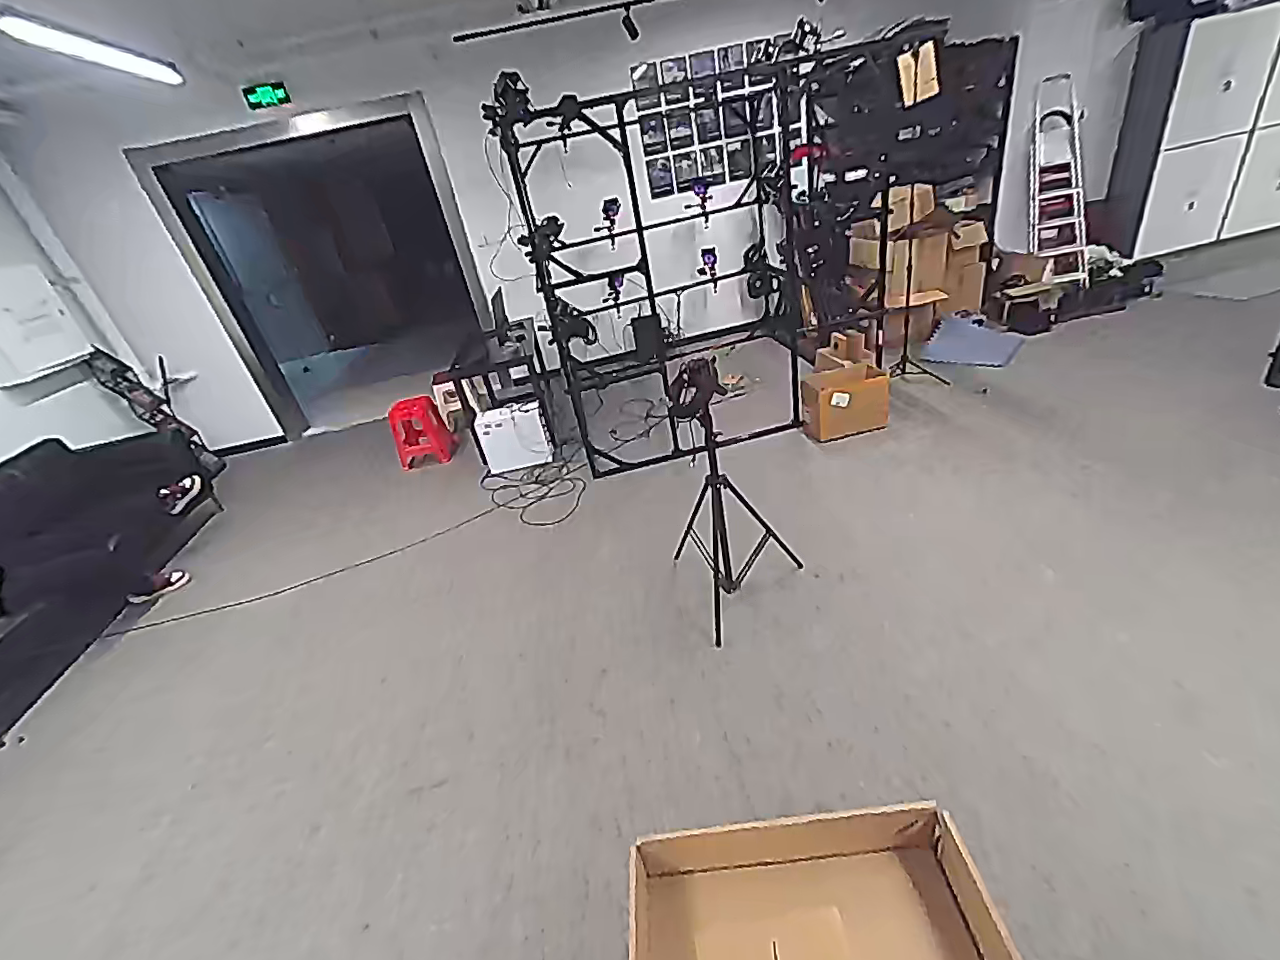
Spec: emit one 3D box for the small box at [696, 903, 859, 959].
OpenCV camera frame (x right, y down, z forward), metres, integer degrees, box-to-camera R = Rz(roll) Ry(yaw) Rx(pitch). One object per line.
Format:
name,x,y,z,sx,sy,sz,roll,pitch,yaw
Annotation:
small box,0.163,0.593,0.576,0.168,0.176,0.179,-11,39,-1
